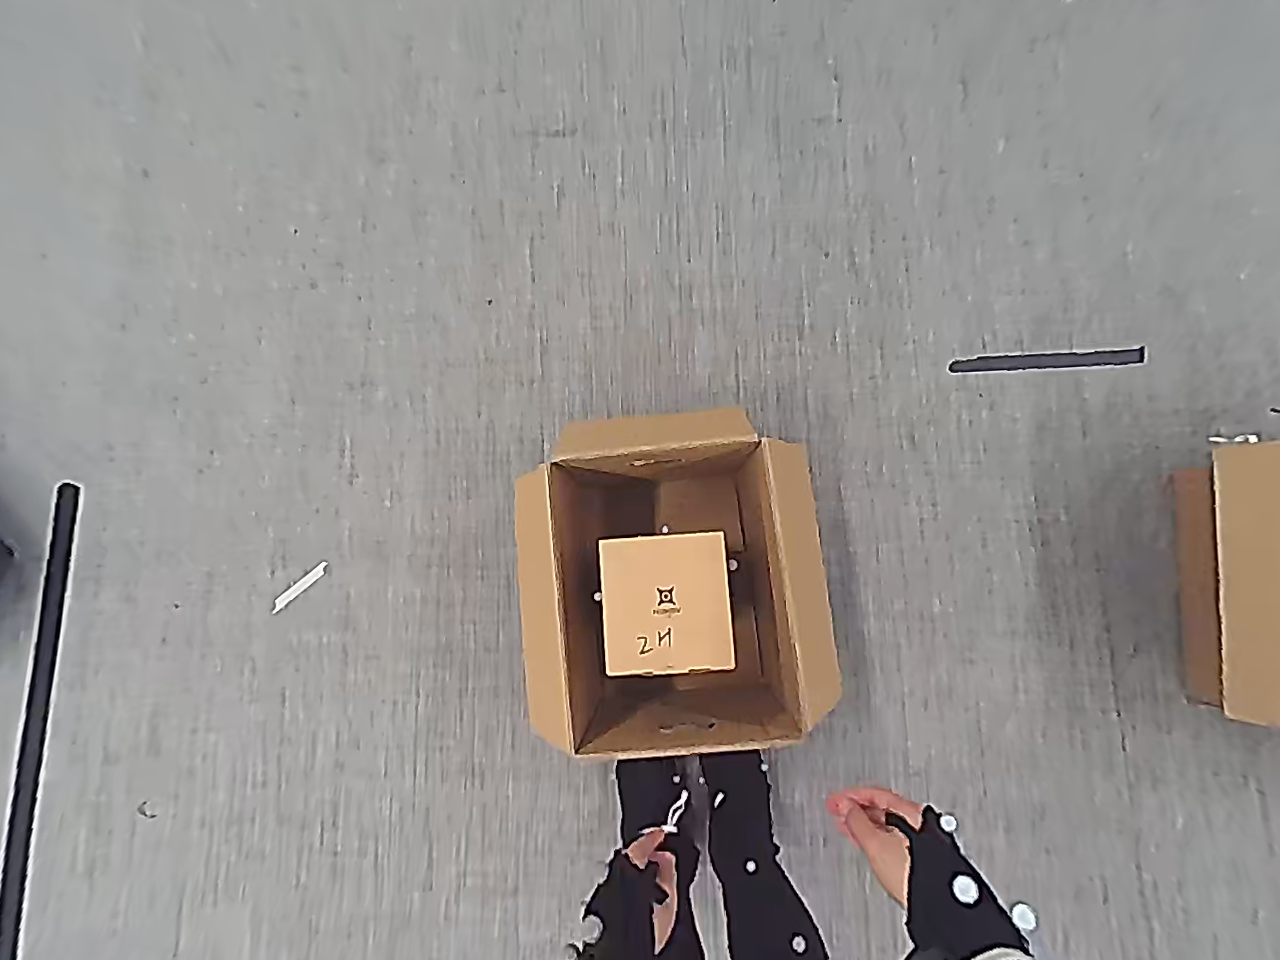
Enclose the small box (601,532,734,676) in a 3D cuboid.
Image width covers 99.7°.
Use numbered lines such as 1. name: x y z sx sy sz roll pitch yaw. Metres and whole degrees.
1. small box: 0.038 0.171 0.774 0.168 0.176 0.179 -4 82 3
